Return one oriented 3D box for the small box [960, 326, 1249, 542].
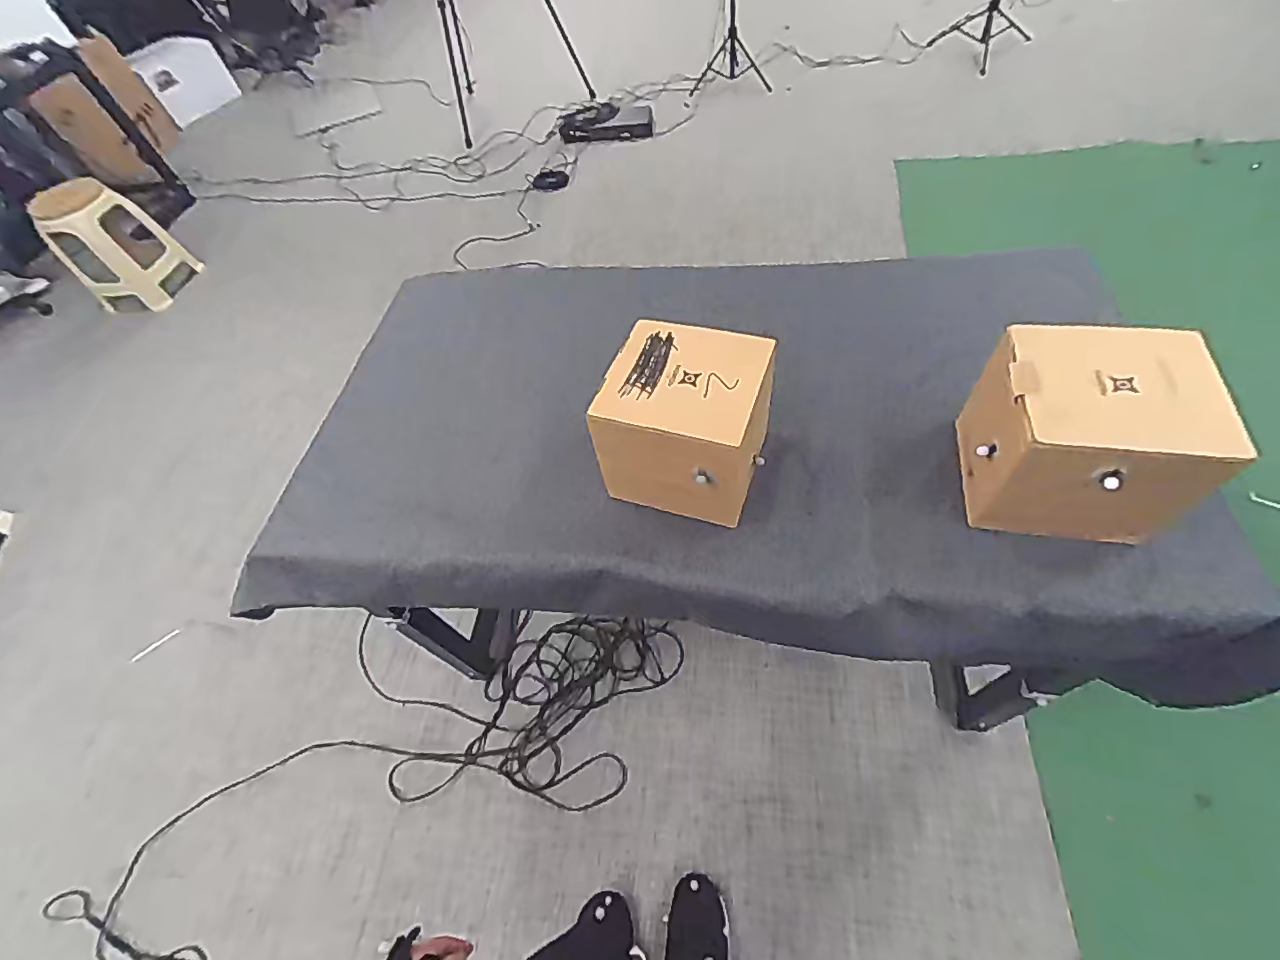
[{"bbox_3d":[0.473,-0.046,0.595,0.179,0.176,0.168,7,58,13],"label":"small box"}]
